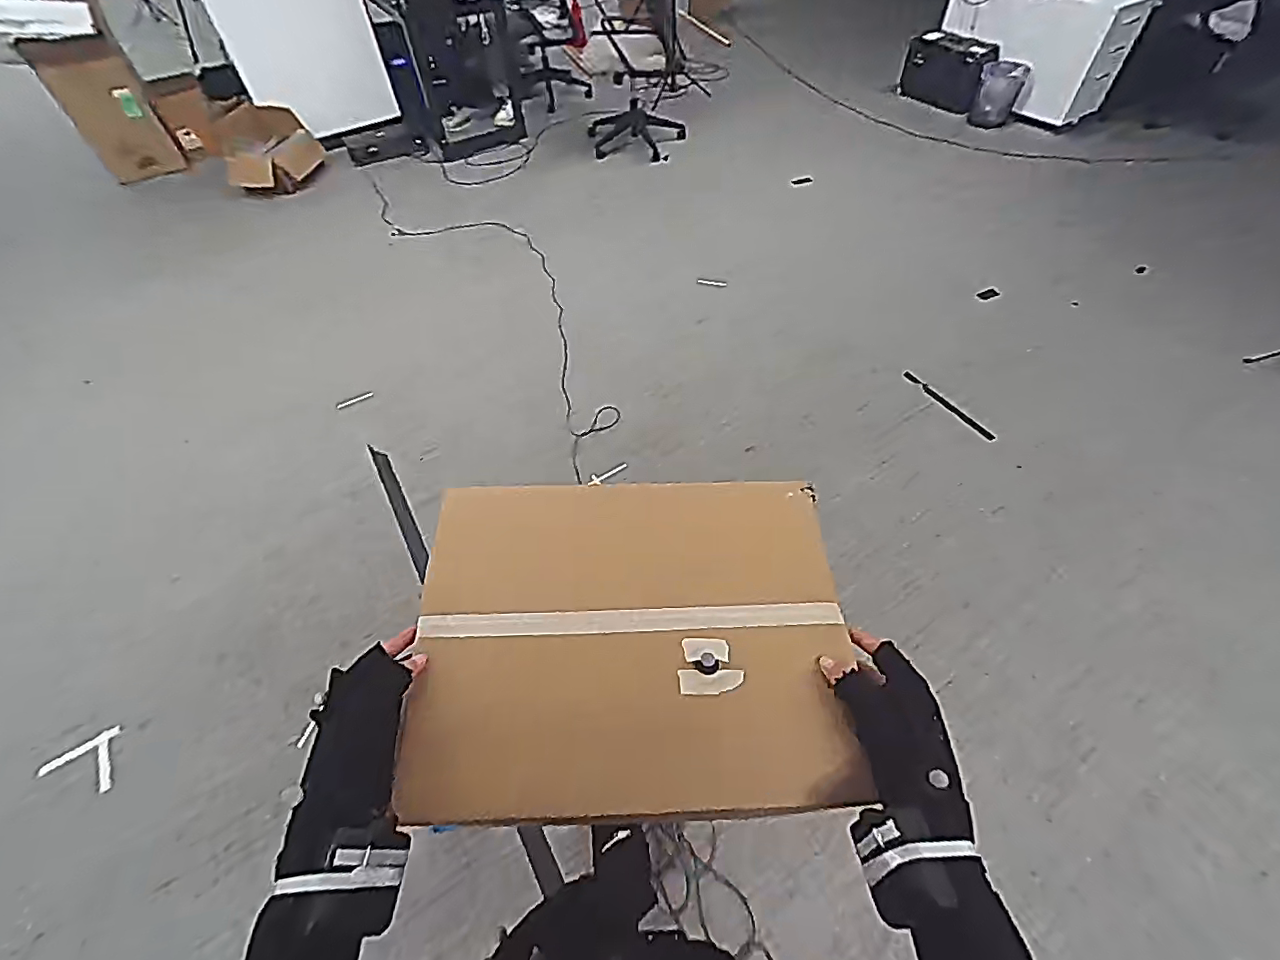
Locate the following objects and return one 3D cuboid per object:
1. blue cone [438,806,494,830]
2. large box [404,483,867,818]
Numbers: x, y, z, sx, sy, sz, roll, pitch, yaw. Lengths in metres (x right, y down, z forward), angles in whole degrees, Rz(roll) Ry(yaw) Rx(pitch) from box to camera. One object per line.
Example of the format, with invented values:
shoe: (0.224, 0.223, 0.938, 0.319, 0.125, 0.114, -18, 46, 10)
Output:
blue cone: (-0.403, 0.621, 1.176, 0.193, 0.380, 0.192, -11, 53, -4)
large box: (-0.011, 0.217, 0.660, 0.408, 0.320, 0.320, -1, 57, -2)
